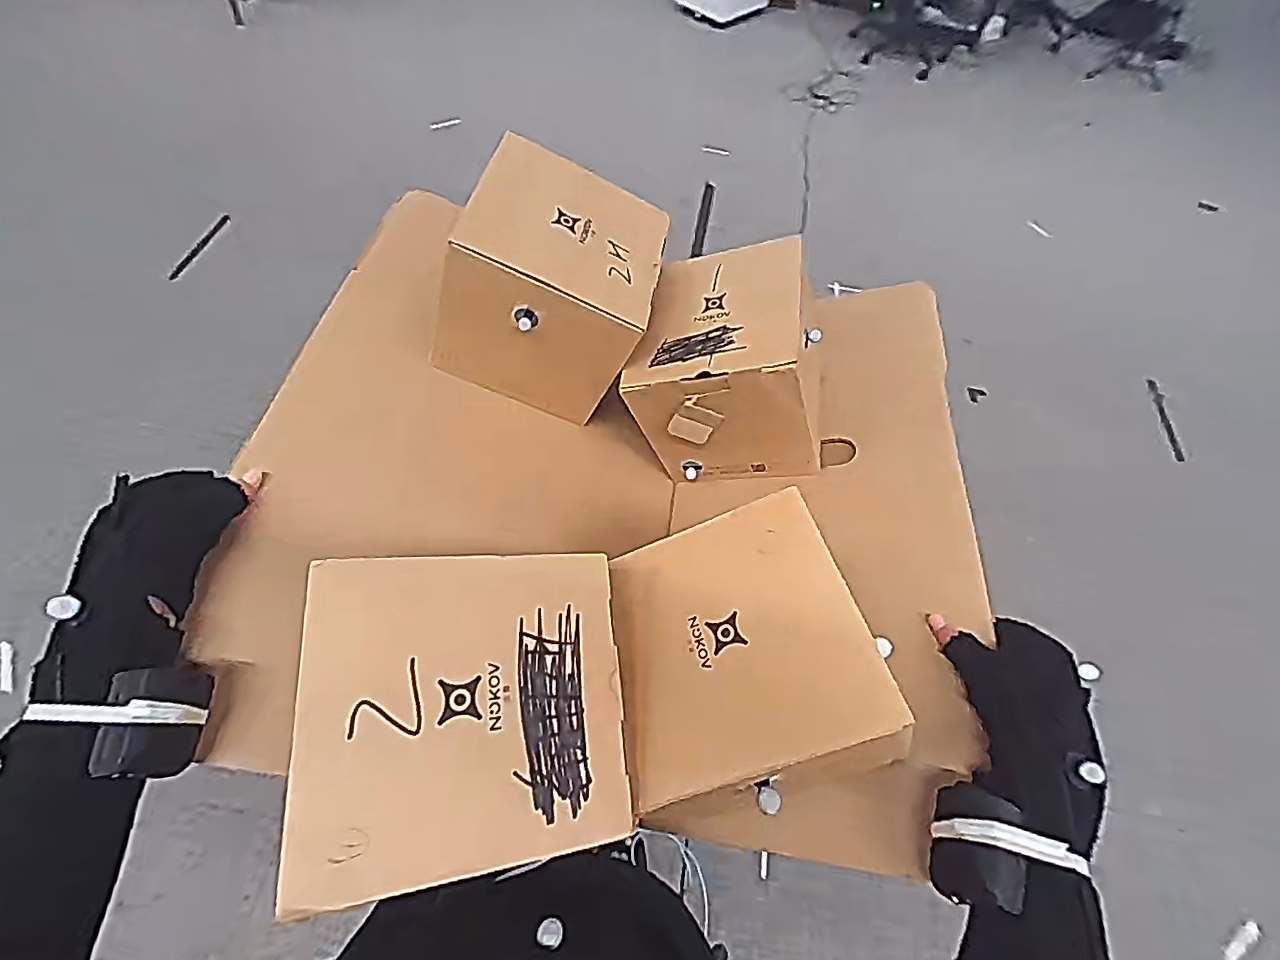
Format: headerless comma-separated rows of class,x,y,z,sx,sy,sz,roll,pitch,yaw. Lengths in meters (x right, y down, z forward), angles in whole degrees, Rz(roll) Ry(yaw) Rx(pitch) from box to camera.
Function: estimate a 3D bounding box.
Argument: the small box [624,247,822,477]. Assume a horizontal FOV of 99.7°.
small box,0.103,-0.112,0.586,0.168,0.176,0.179,-3,56,24
